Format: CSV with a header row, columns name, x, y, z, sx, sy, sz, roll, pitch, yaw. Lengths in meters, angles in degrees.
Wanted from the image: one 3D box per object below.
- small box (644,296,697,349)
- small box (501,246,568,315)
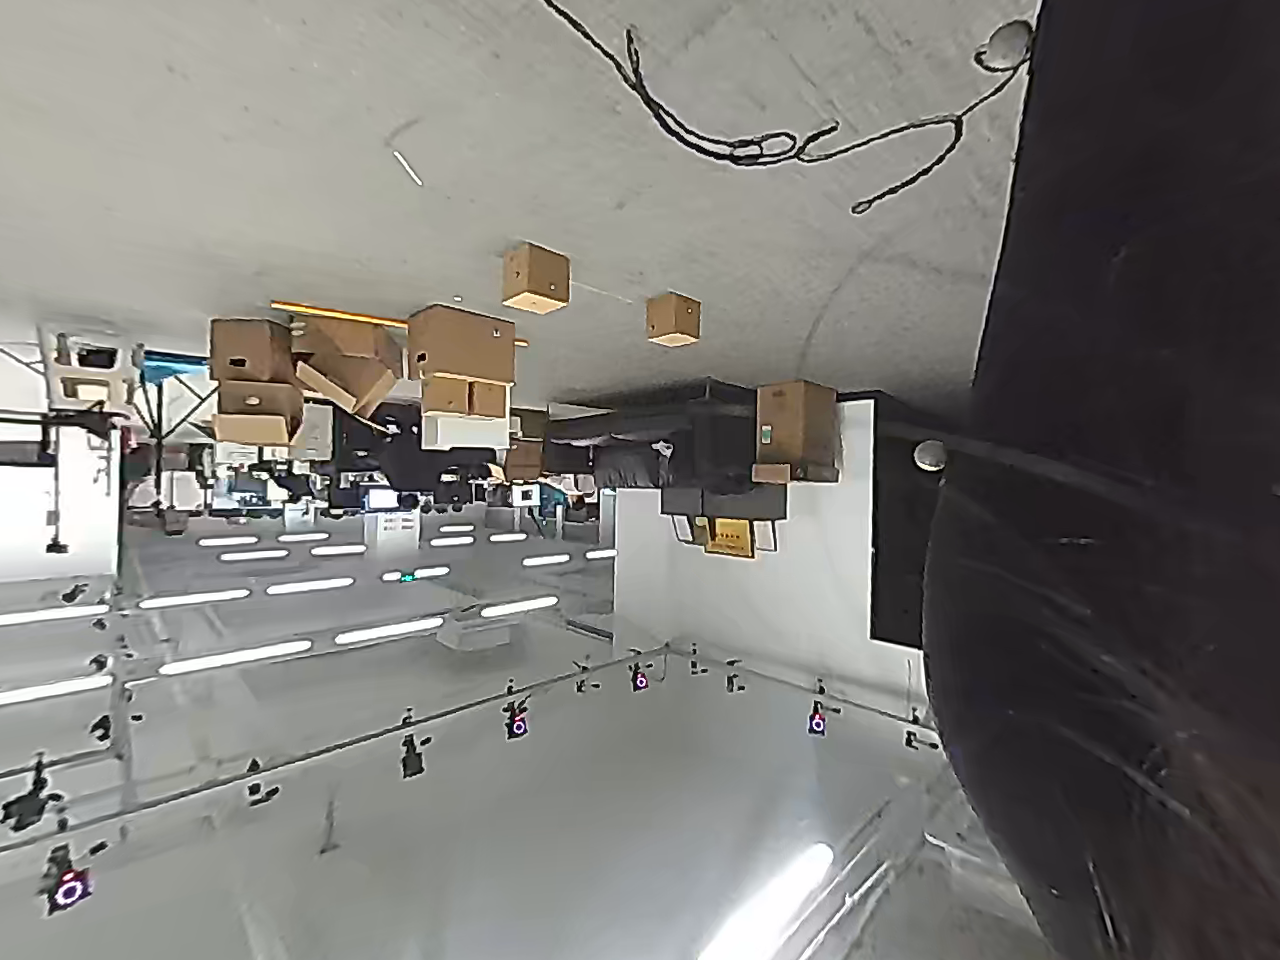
name,x,y,z,sx,sy,sz,roll,pitch,yaw
small box,0.137,-0.682,2.345,0.168,0.176,0.179,1,180,-44
small box,-0.366,-0.693,1.879,0.179,0.176,0.168,1,180,-44
